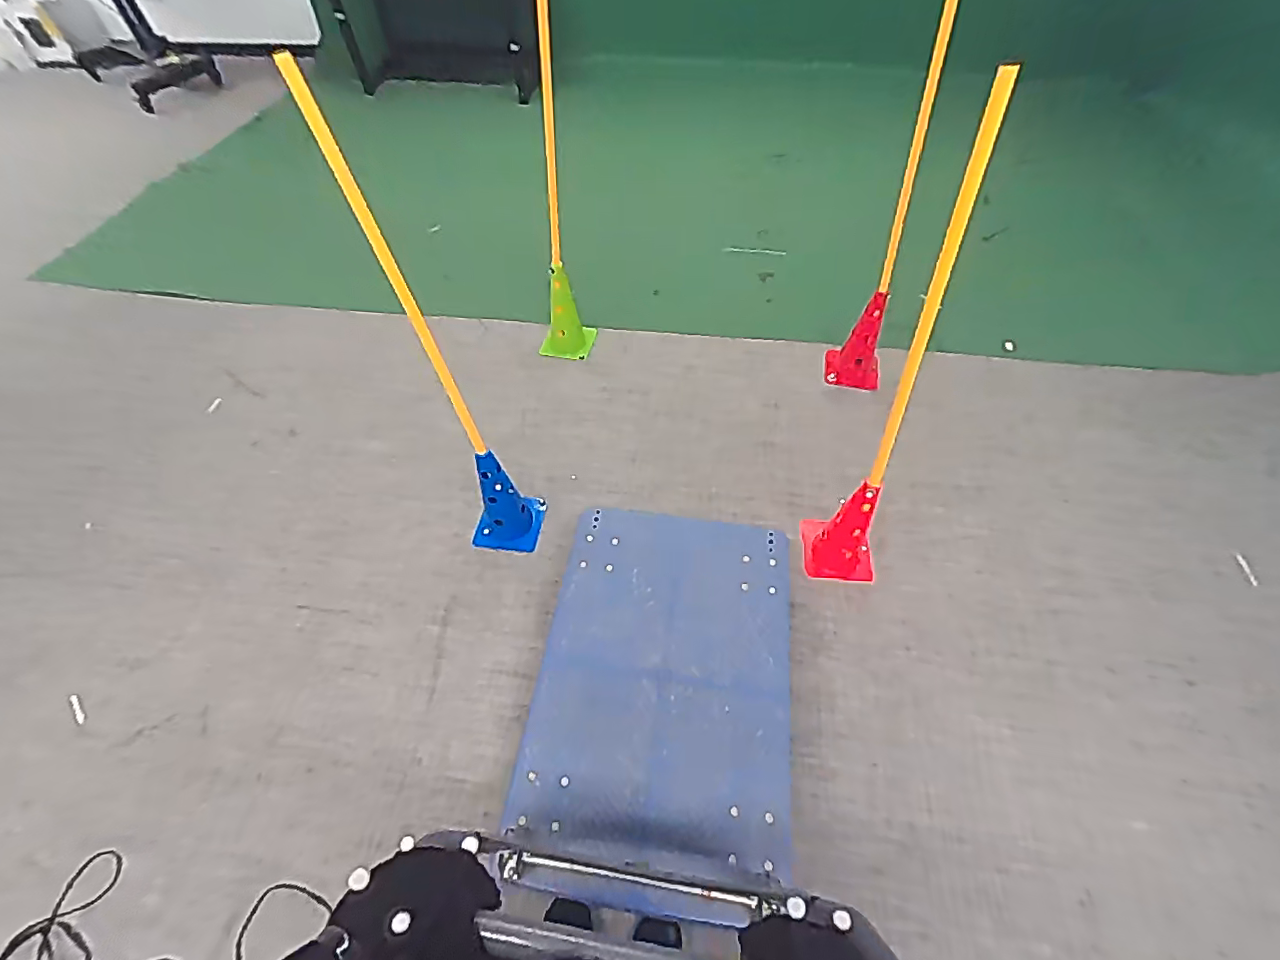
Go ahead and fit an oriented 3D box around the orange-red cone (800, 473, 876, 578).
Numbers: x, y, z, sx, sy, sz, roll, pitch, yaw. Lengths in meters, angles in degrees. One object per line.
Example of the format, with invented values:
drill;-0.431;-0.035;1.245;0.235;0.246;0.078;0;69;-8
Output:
orange-red cone;0.585;0.103;1.511;0.199;0.360;0.198;4;54;6

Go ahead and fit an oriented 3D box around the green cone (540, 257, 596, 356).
green cone;-0.299;-0.687;2.091;0.202;0.368;0.200;9;54;8
